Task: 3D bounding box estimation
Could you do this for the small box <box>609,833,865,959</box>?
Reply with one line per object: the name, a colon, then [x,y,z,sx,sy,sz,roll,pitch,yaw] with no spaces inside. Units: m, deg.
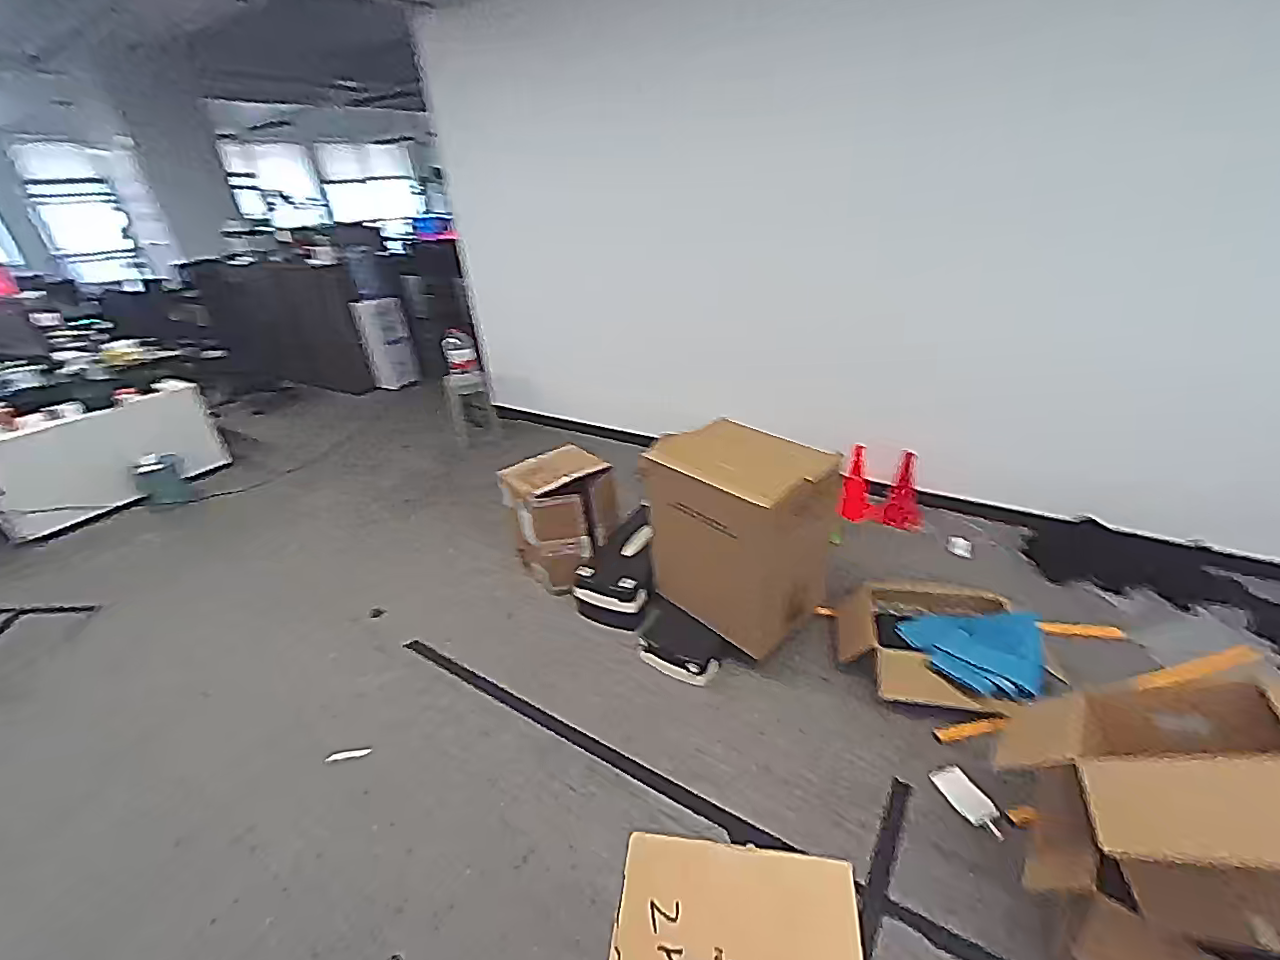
small box: [0.072,0.400,0.409,0.179,0.176,0.168,-1,37,12]
